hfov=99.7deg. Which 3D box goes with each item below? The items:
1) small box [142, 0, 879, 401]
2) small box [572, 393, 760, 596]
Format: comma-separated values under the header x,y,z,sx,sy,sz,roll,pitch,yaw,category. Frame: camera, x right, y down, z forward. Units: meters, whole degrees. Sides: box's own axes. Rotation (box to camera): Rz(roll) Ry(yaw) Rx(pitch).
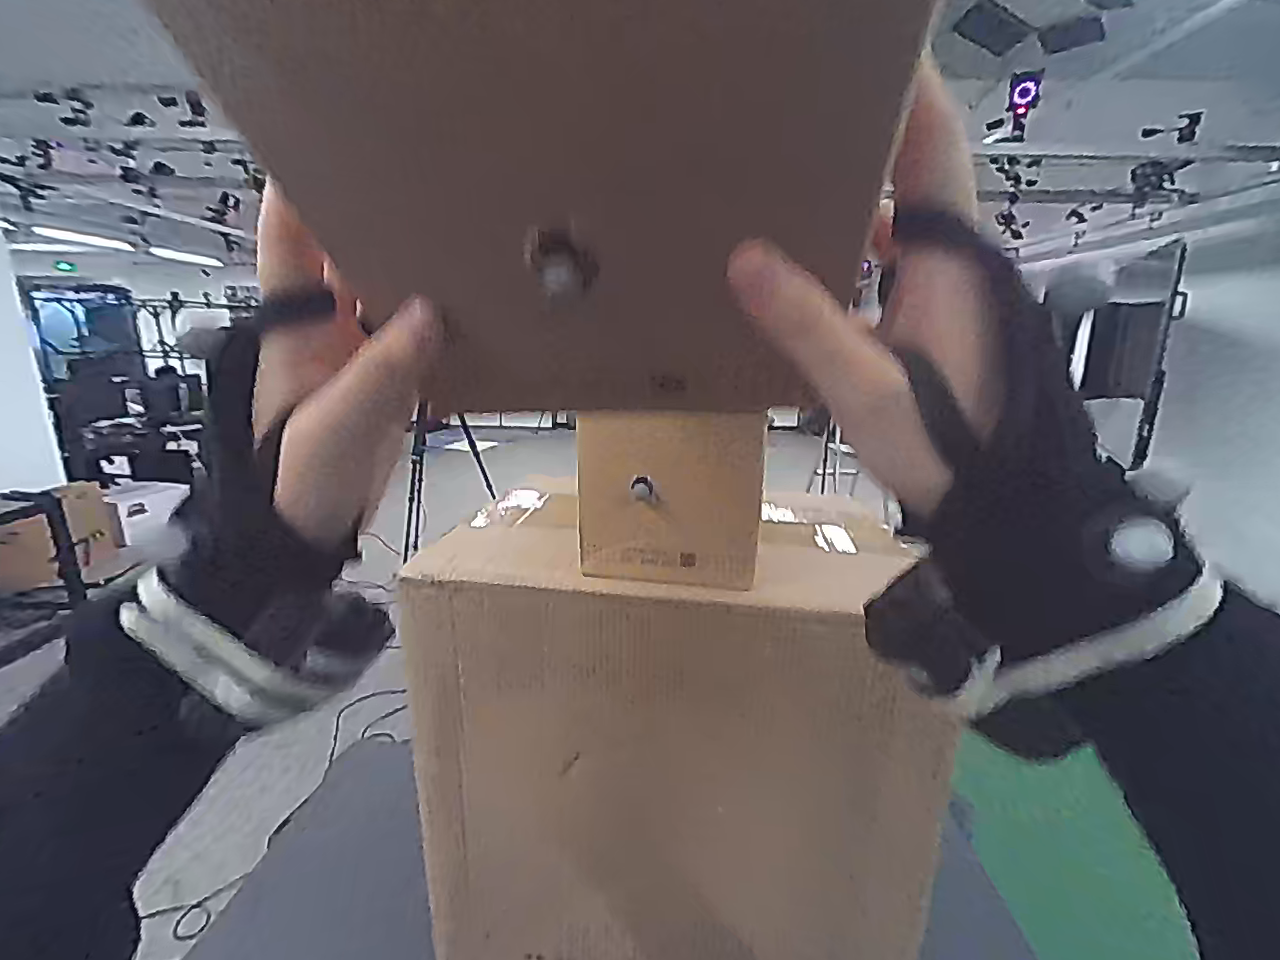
x,y,z,sx,sy,sz,roll,pitch,yaw,category
-0.014,-0.144,0.209,0.168,0.179,0.176,0,-30,7,small box
0.036,0.005,0.559,0.168,0.176,0.179,4,16,9,small box
